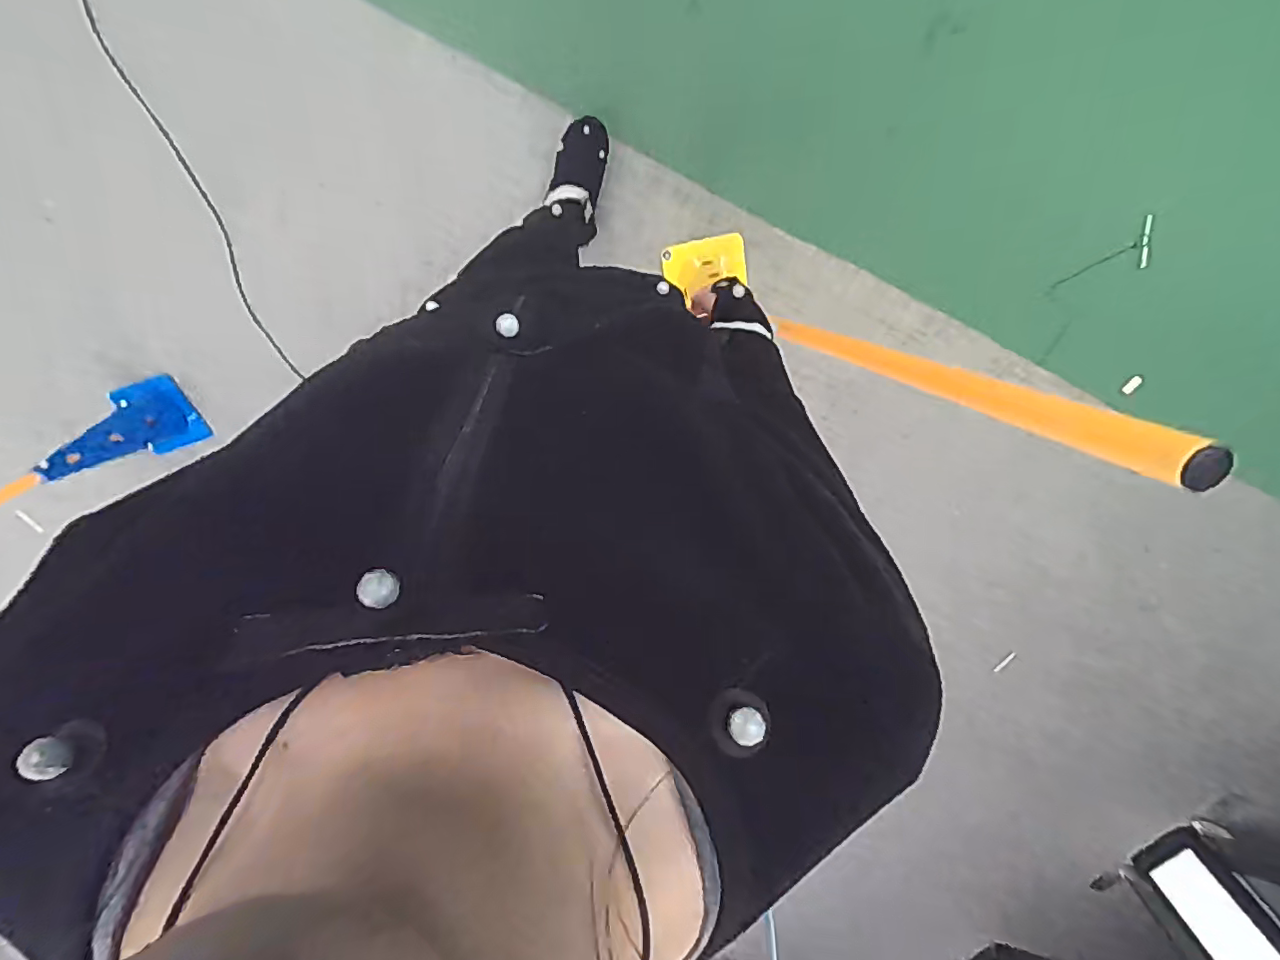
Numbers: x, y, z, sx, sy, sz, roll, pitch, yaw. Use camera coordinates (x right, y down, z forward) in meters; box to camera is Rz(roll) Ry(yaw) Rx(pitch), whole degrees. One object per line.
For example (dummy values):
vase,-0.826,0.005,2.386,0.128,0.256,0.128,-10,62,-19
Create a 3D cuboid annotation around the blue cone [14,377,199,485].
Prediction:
blue cone,-1.329,-0.089,1.333,0.193,0.380,0.192,-16,119,11
